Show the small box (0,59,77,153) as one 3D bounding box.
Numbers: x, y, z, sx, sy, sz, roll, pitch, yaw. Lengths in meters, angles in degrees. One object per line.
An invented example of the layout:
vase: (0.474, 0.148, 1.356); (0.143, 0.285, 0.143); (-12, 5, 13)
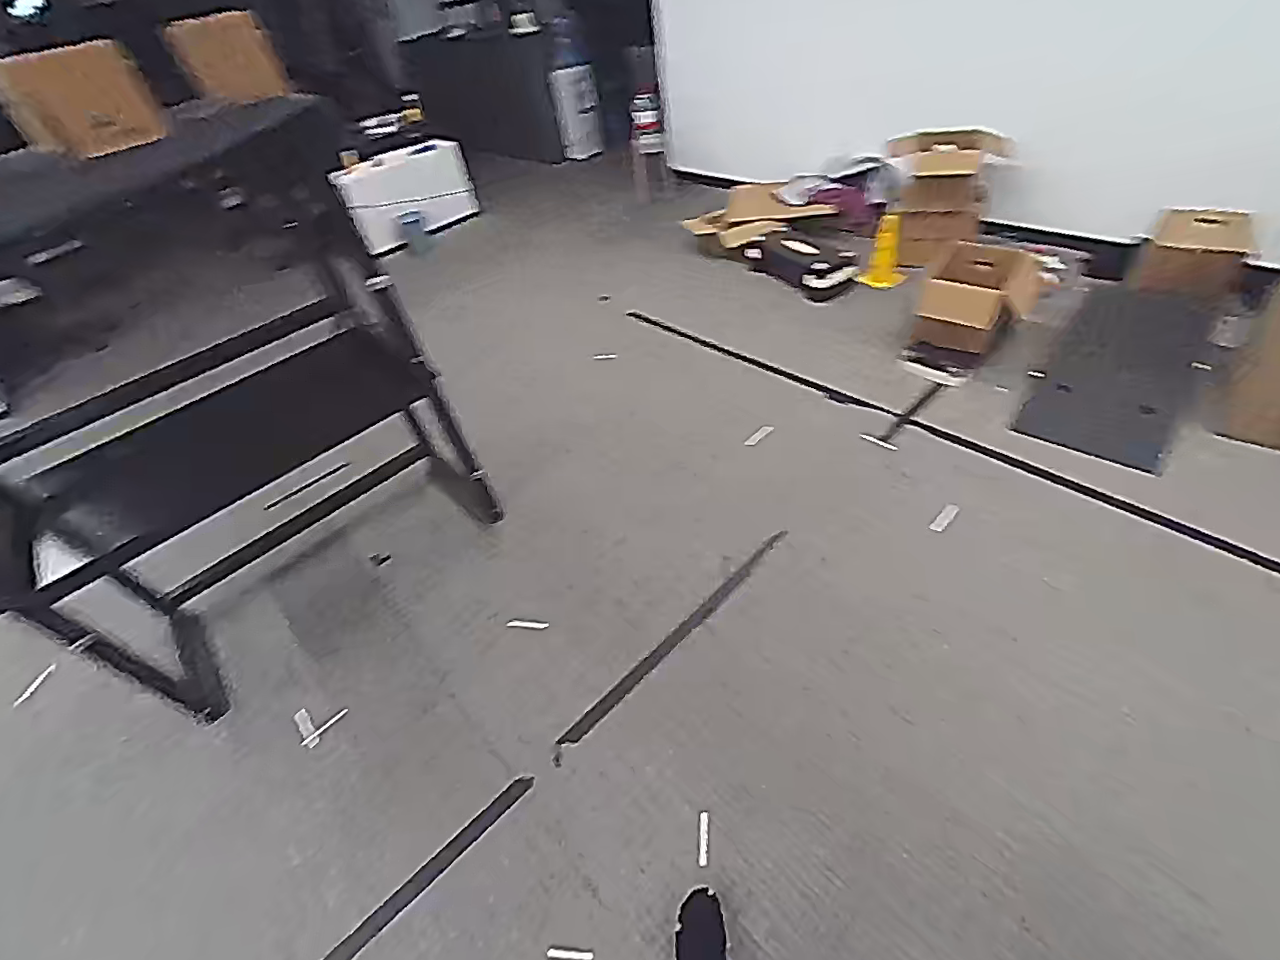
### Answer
small box: (-1.342, -0.877, 1.254); (0.179, 0.176, 0.168); (24, 55, 30)

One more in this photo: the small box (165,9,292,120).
small box: (-0.922, -0.936, 1.224); (0.168, 0.176, 0.179); (-31, 46, -18)

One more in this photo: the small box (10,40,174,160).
small box: (-1.106, -0.770, 1.101); (0.168, 0.176, 0.179); (-38, 49, -24)
